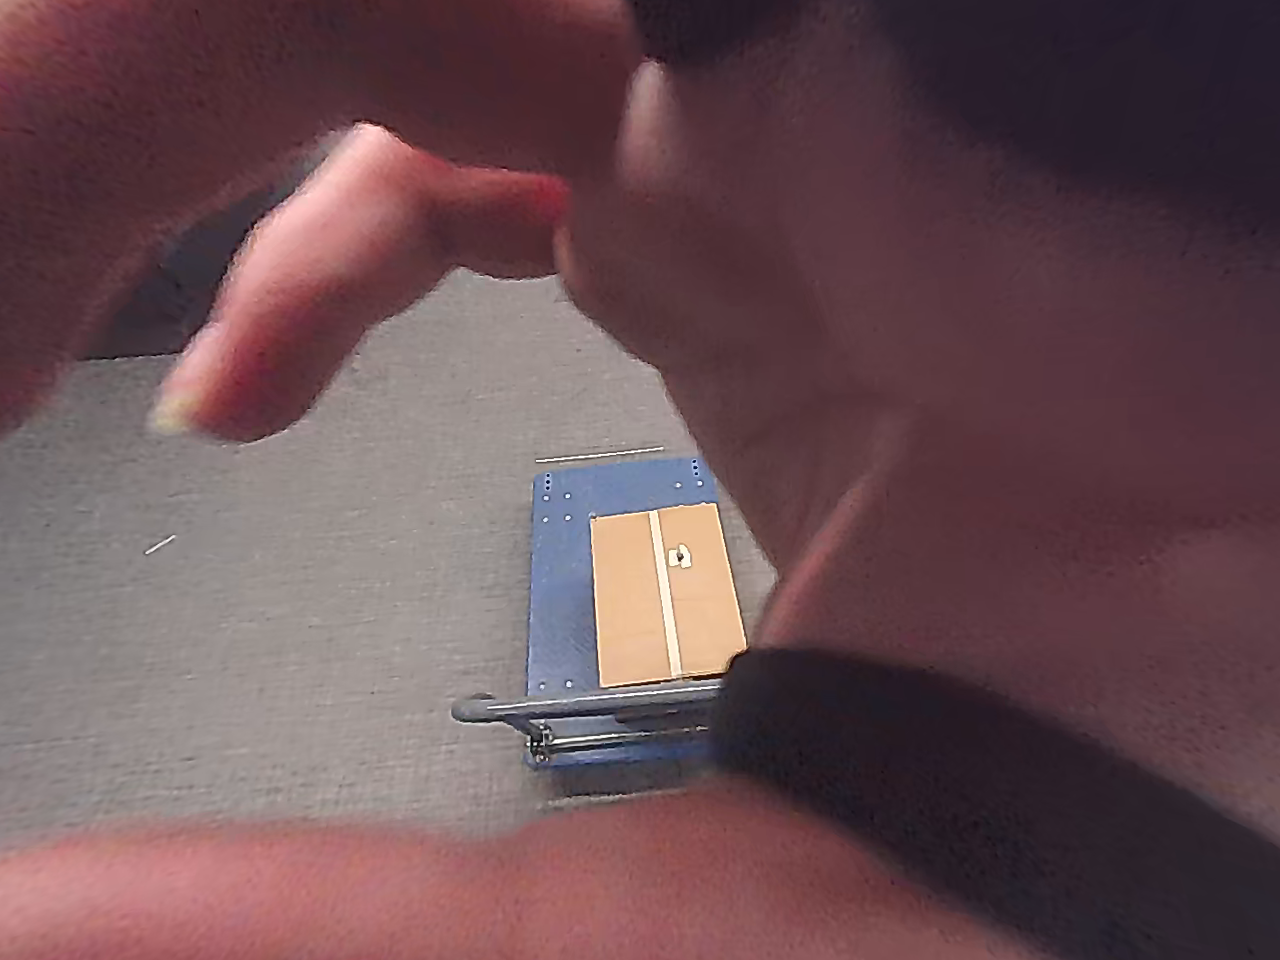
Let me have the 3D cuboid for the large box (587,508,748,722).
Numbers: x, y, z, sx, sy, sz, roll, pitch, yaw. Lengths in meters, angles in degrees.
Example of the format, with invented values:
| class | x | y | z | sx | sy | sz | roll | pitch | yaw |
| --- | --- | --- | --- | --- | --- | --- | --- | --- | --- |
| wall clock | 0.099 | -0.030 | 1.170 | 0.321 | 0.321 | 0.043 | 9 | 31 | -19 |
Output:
| class | x | y | z | sx | sy | sz | roll | pitch | yaw |
| --- | --- | --- | --- | --- | --- | --- | --- | --- | --- |
| large box | 0.055 | 0.331 | 1.323 | 0.320 | 0.320 | 0.408 | -6 | 55 | -2 |
